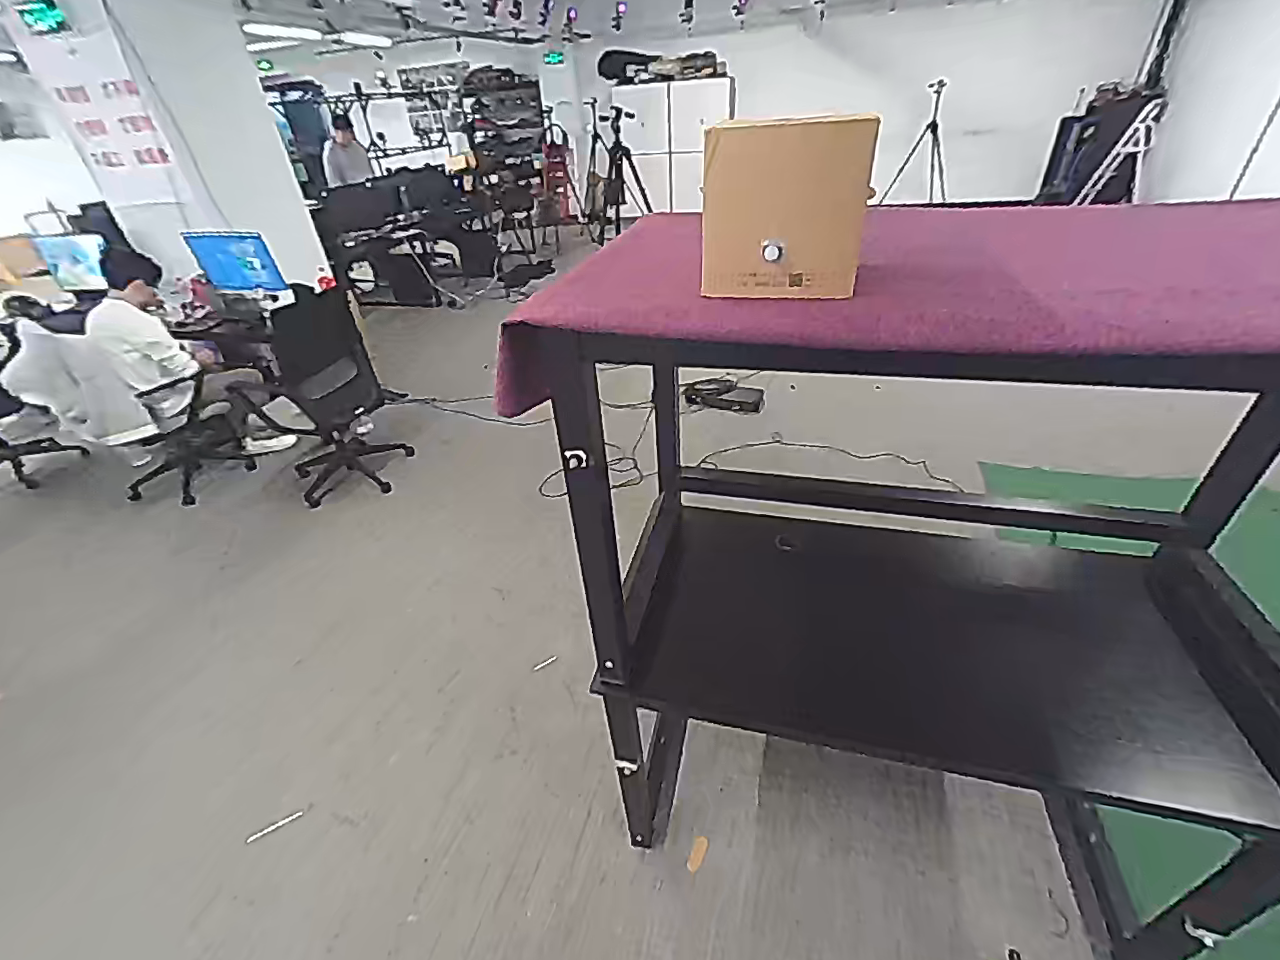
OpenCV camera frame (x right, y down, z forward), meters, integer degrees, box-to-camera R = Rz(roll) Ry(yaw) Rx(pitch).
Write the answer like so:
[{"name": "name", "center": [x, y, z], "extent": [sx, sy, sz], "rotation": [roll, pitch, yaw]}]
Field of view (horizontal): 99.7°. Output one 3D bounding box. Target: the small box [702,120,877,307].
[{"name": "small box", "center": [0.165, -0.310, 0.625], "extent": [0.168, 0.176, 0.179], "rotation": [5, 36, 14]}]
